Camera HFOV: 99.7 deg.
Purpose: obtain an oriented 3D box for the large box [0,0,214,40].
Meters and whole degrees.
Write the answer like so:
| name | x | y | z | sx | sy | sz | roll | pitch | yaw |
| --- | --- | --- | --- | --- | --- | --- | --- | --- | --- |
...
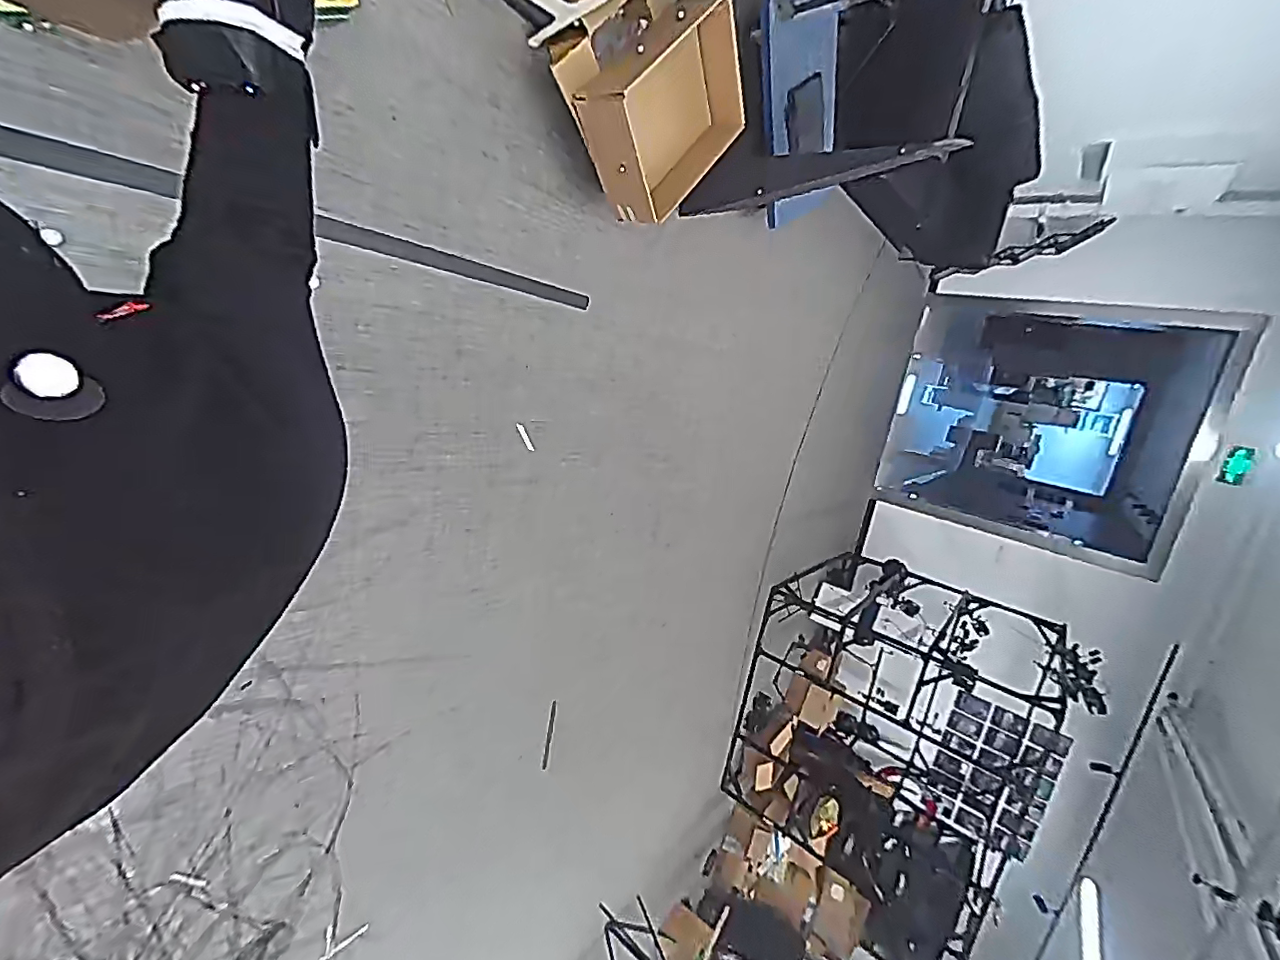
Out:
| name | x | y | z | sx | sy | sz | roll | pitch | yaw |
| --- | --- | --- | --- | --- | --- | --- | --- | --- | --- |
| large box | -0.492 | -0.494 | 0.251 | 0.408 | 0.320 | 0.320 | -9 | 119 | -52 |
